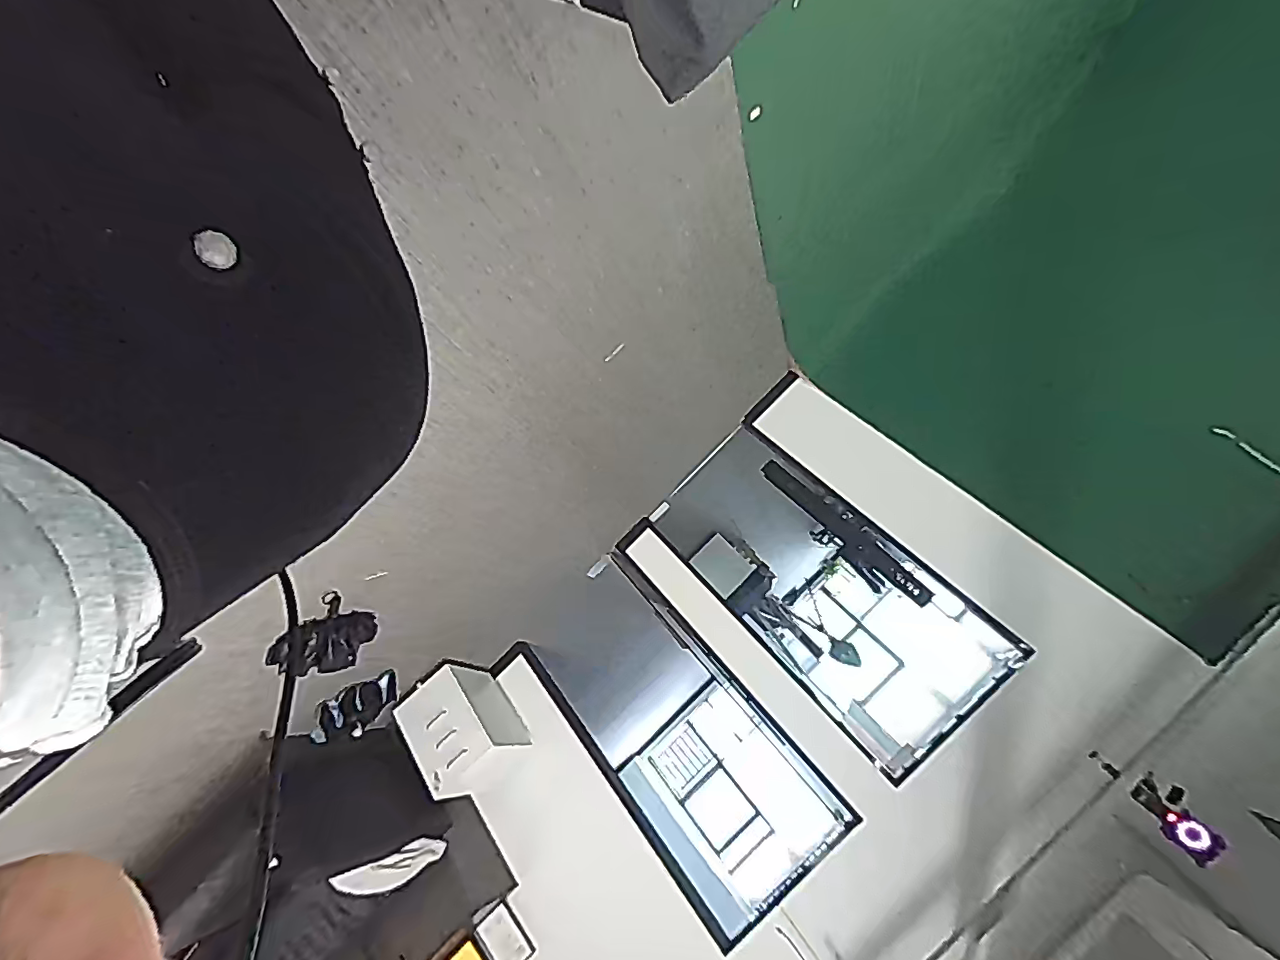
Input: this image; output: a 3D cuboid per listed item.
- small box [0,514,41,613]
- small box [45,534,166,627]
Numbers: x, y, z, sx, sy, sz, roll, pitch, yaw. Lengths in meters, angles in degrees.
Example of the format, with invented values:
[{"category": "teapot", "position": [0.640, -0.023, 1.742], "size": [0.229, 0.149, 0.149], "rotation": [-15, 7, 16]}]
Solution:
[{"category": "small box", "position": [-1.535, 0.184, 1.238], "size": [0.179, 0.176, 0.168], "rotation": [-49, 151, 9]}, {"category": "small box", "position": [-1.451, 0.271, 1.465], "size": [0.179, 0.176, 0.168], "rotation": [-47, 153, 1]}]
